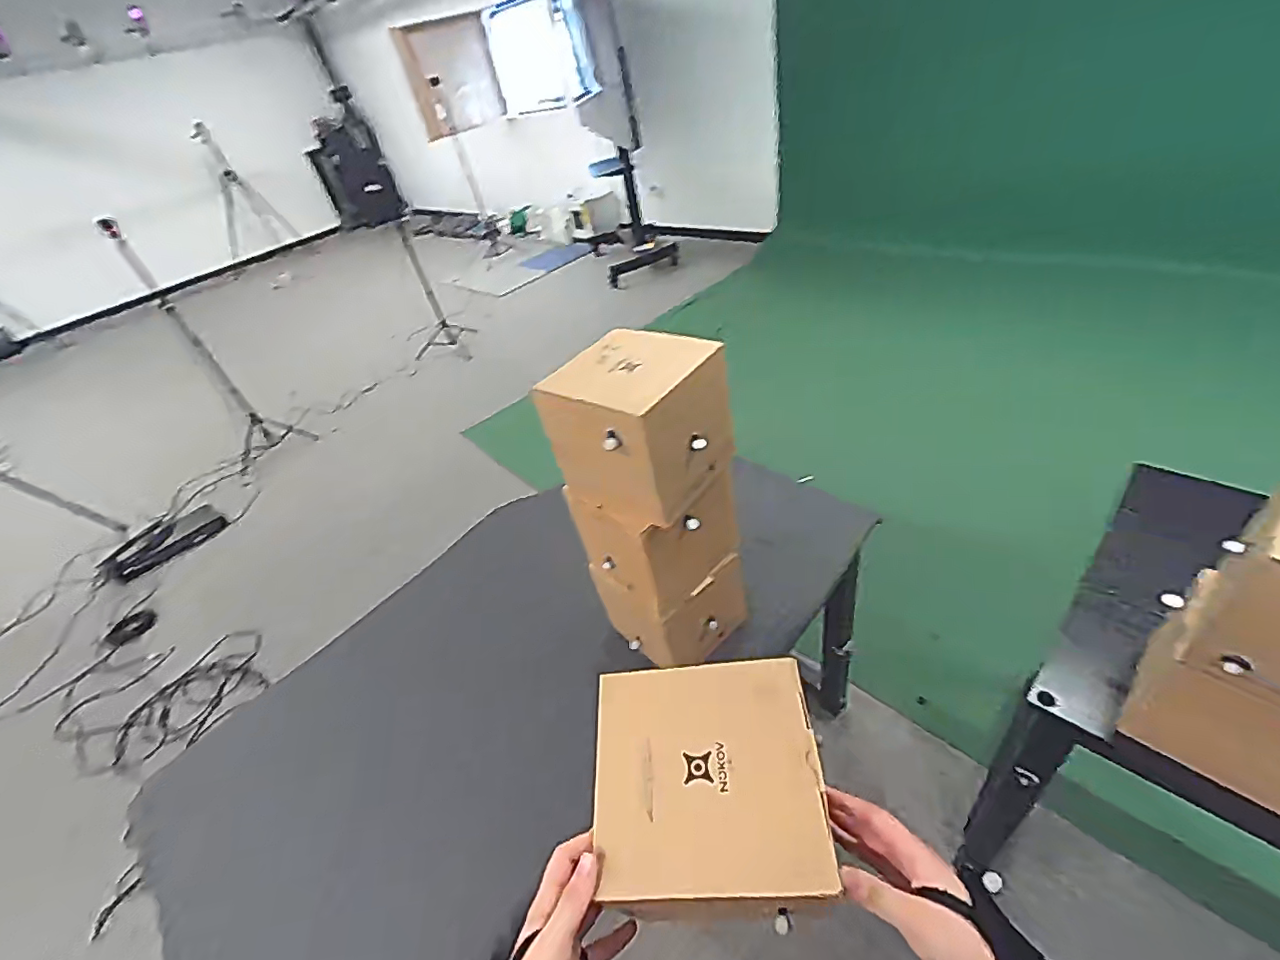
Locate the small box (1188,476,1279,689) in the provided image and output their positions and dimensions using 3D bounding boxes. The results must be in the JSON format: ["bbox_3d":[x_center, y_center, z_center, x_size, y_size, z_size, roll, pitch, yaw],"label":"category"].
[{"bbox_3d":[0.682,0.111,0.518,0.179,0.176,0.168,-37,45,-26],"label":"small box"}]

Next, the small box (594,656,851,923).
[{"bbox_3d":[0.070,0.273,0.472,0.179,0.176,0.168,-9,46,10],"label":"small box"}]

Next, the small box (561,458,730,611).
[{"bbox_3d":[0.018,0.053,0.792,0.179,0.176,0.168,-39,44,-26],"label":"small box"}]

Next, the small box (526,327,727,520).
[{"bbox_3d":[-0.006,-0.073,0.688,0.179,0.176,0.168,18,49,36],"label":"small box"}]

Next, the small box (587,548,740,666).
[{"bbox_3d":[0.046,0.182,0.889,0.168,0.176,0.179,-38,44,-24],"label":"small box"}]
